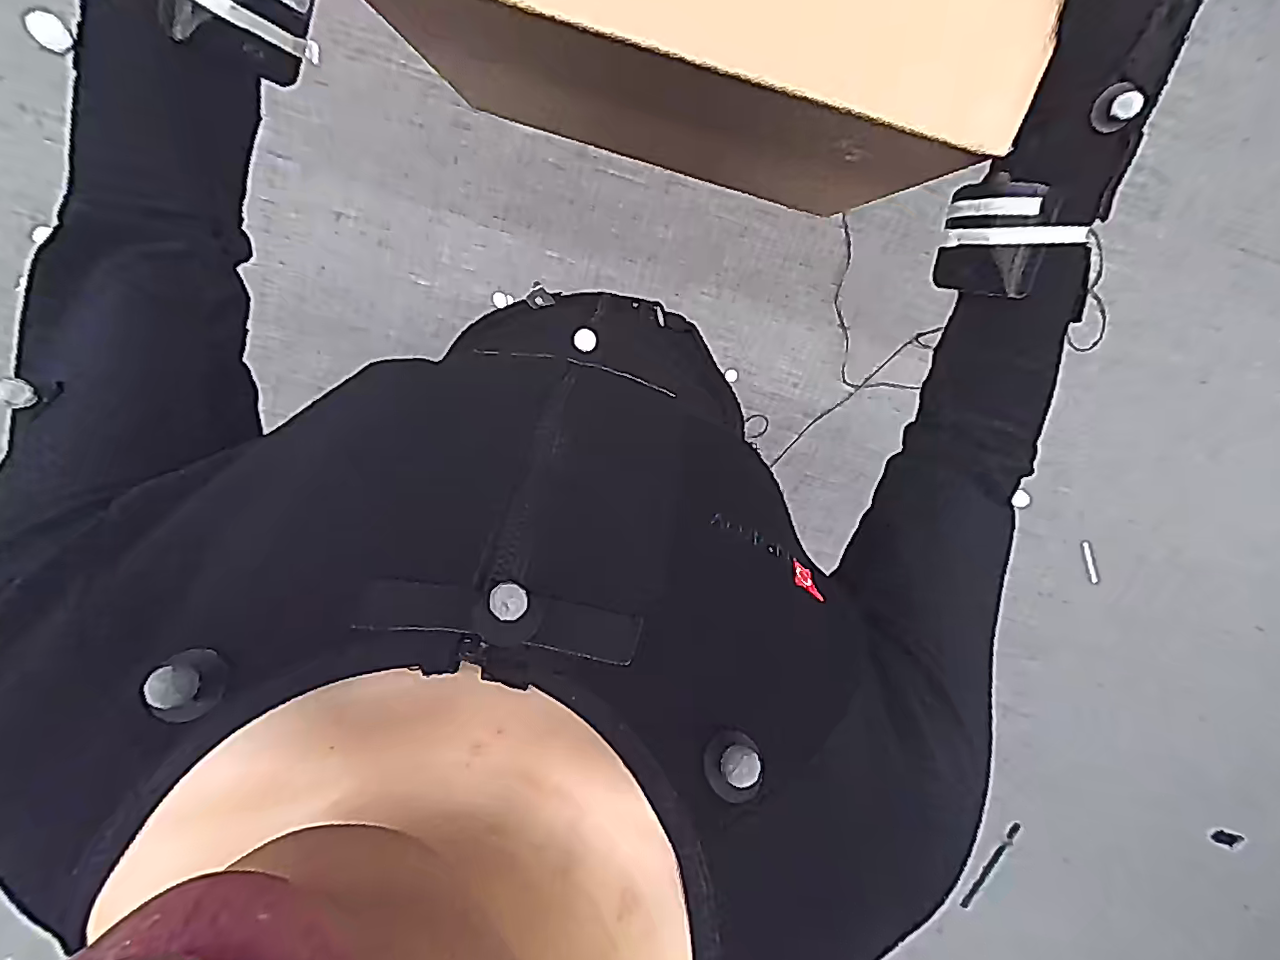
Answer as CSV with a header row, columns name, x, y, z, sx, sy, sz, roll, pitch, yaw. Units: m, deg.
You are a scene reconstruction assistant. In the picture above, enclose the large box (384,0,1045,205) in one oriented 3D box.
name,x,y,z,sx,sy,sz,roll,pitch,yaw
large box,0.052,-0.437,0.397,0.408,0.320,0.320,14,110,-5
